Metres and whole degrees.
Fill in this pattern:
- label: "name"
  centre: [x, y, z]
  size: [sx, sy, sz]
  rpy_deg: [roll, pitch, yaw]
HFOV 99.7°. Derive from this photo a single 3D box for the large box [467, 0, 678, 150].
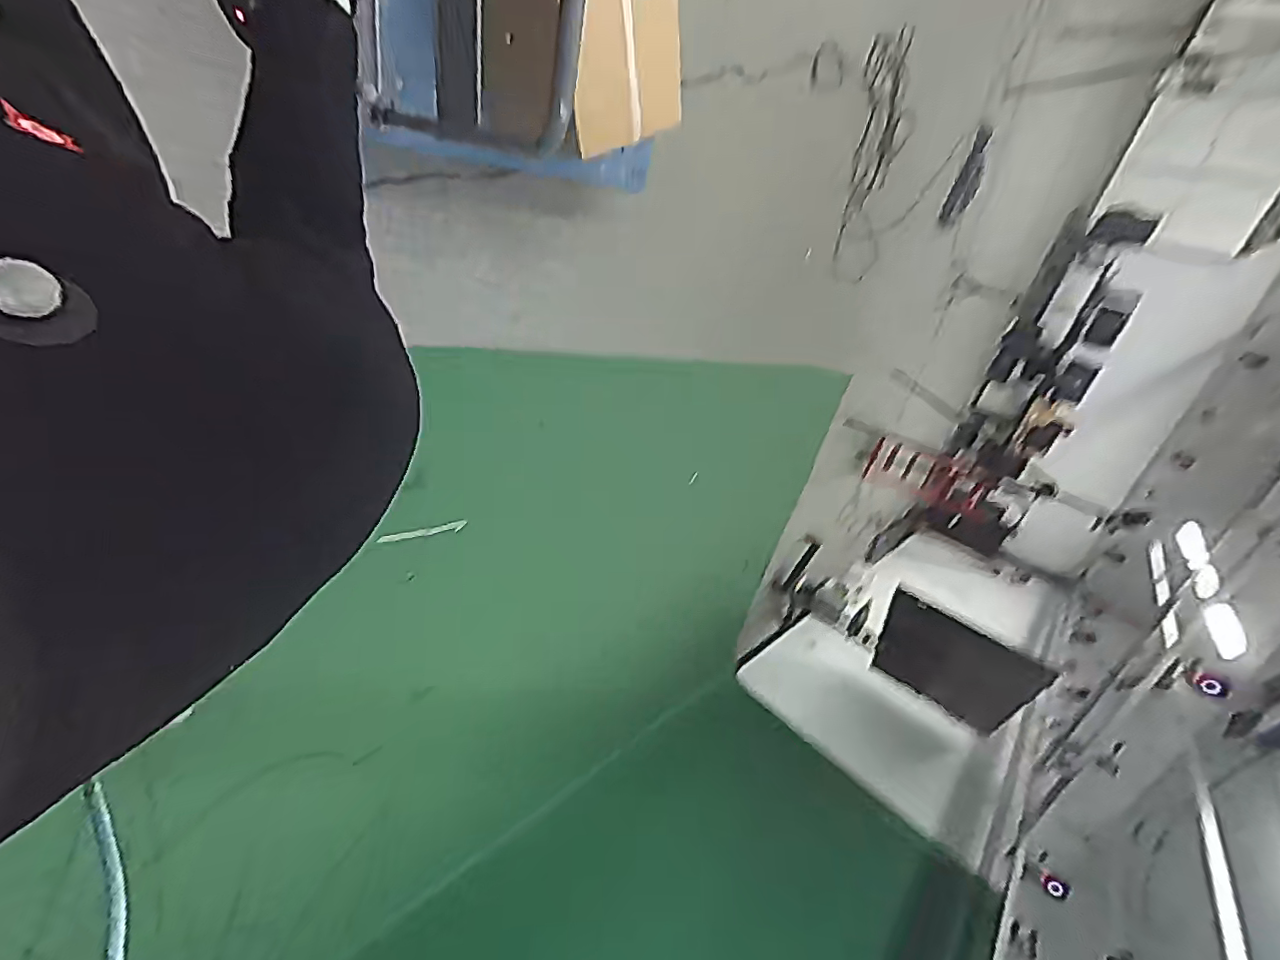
- label: "large box"
  centre: [-0.144, -0.973, 1.136]
  size: [0.320, 0.320, 0.408]
  rpy_deg: [-38, 142, -28]
